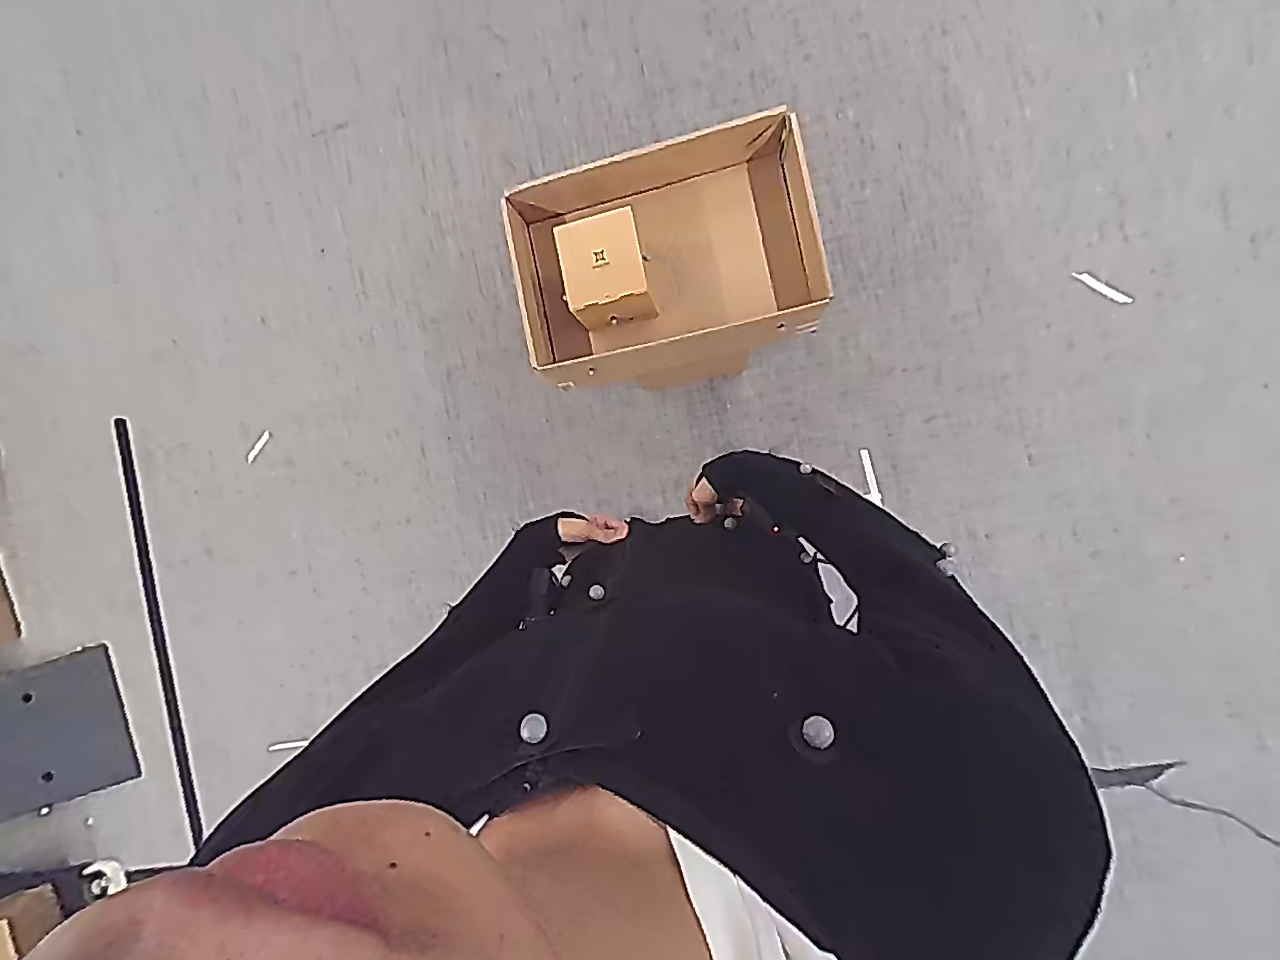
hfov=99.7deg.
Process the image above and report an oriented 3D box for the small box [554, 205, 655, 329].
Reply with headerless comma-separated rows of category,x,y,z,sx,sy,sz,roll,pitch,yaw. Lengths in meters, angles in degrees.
small box,-0.069,-0.446,1.158,0.168,0.176,0.179,-12,89,8
